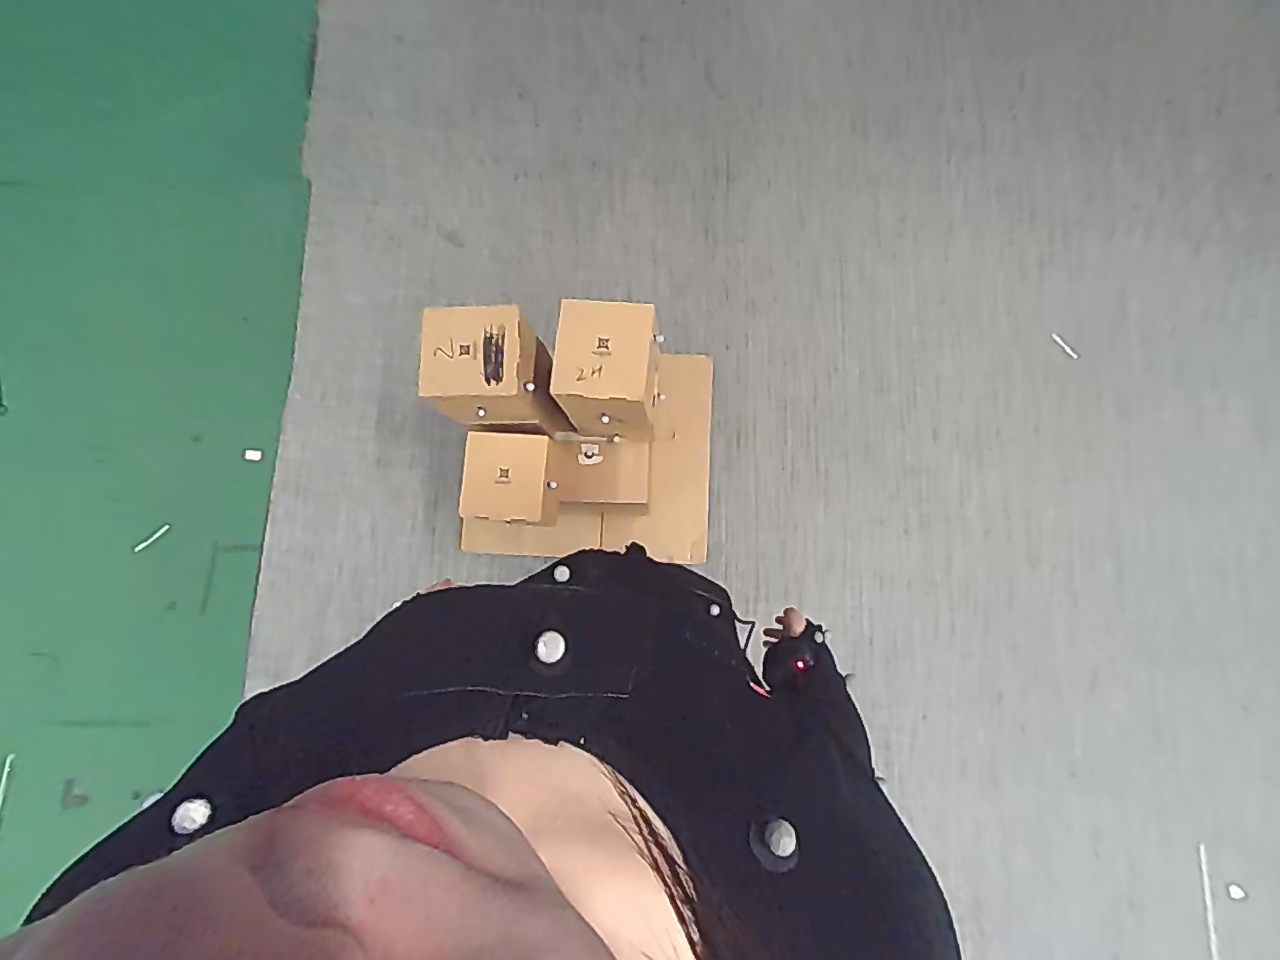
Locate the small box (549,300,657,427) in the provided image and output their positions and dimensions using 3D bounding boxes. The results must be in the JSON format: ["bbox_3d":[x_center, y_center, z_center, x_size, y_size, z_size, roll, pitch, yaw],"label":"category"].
[{"bbox_3d":[-0.060,-0.209,1.003,0.168,0.176,0.179,5,81,5],"label":"small box"}]

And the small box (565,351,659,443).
[{"bbox_3d":[-0.052,-0.180,1.167,0.179,0.176,0.168,4,81,5],"label":"small box"}]
